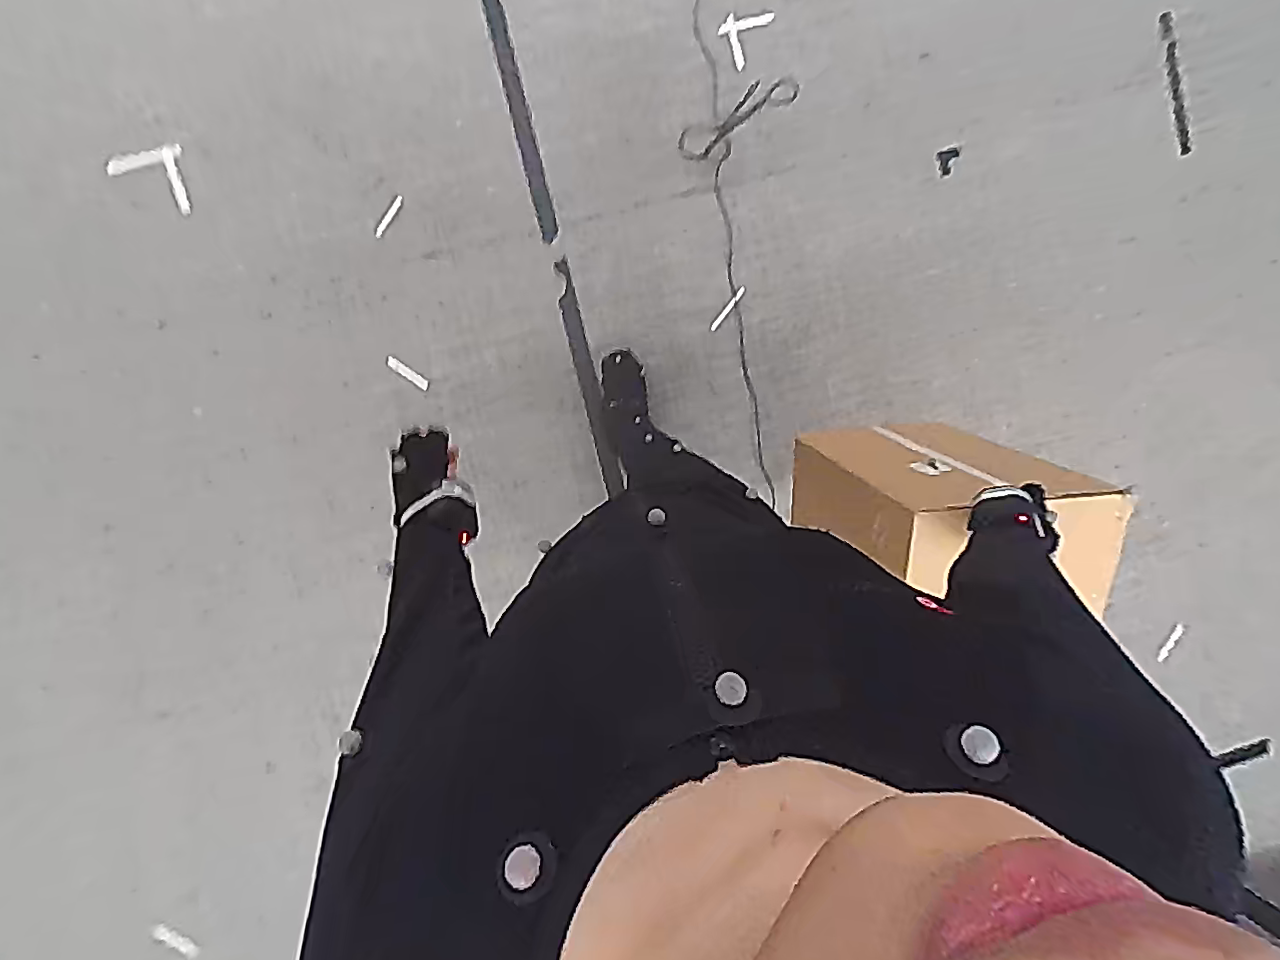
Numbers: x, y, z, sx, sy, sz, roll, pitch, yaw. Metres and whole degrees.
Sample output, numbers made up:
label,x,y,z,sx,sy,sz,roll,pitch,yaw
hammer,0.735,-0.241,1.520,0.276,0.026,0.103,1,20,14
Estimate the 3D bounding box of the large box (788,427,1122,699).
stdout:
label,x,y,z,sx,sy,sz,roll,pitch,yaw
large box,0.488,0.111,0.954,0.320,0.408,0.320,-6,110,-6
